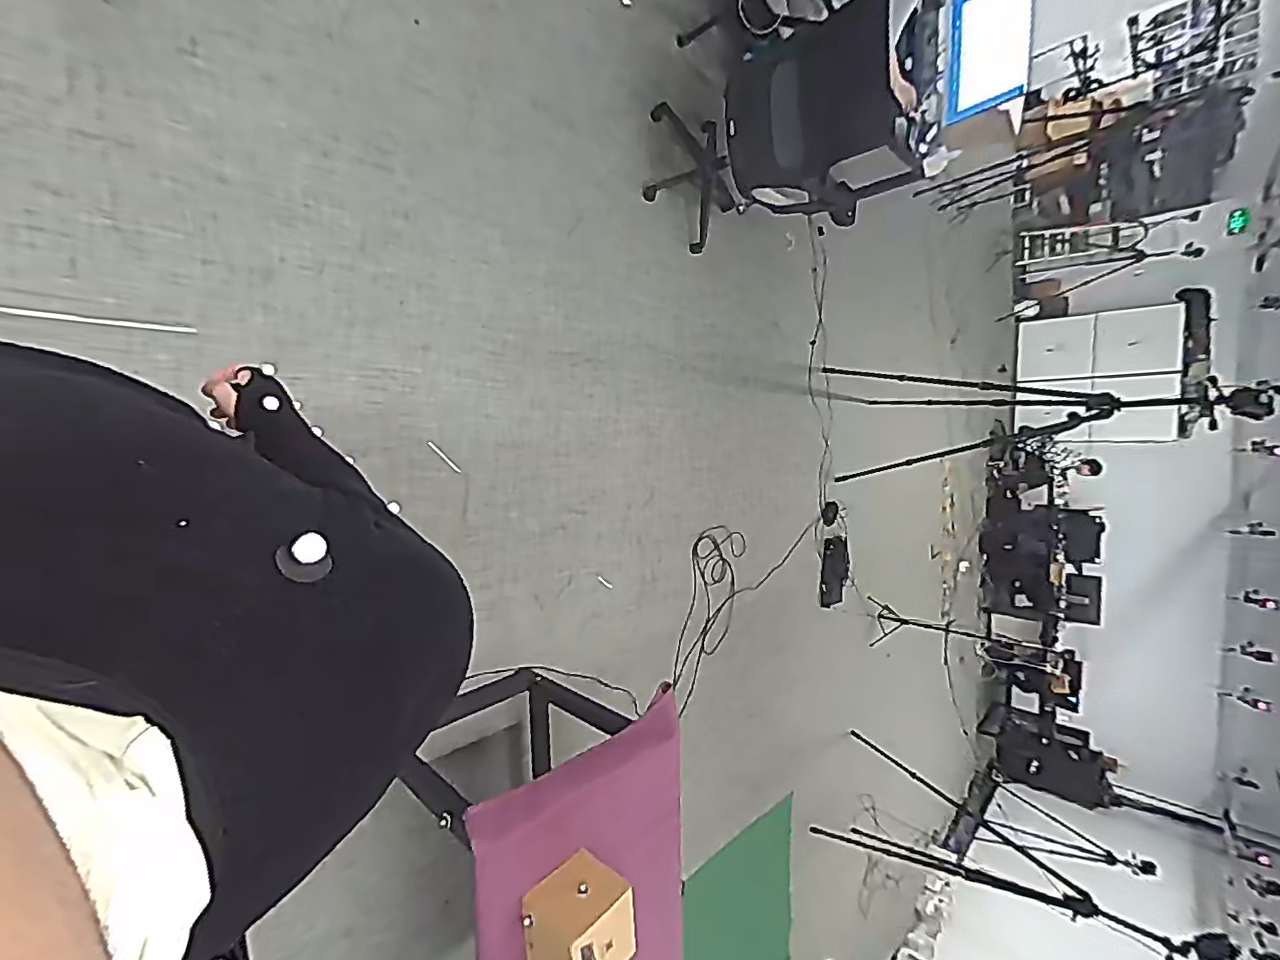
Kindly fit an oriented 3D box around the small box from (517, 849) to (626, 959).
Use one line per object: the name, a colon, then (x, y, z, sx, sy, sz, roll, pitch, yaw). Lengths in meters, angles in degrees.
small box: (-0.153, 0.958, 1.169, 0.179, 0.176, 0.168, -10, 100, -47)
